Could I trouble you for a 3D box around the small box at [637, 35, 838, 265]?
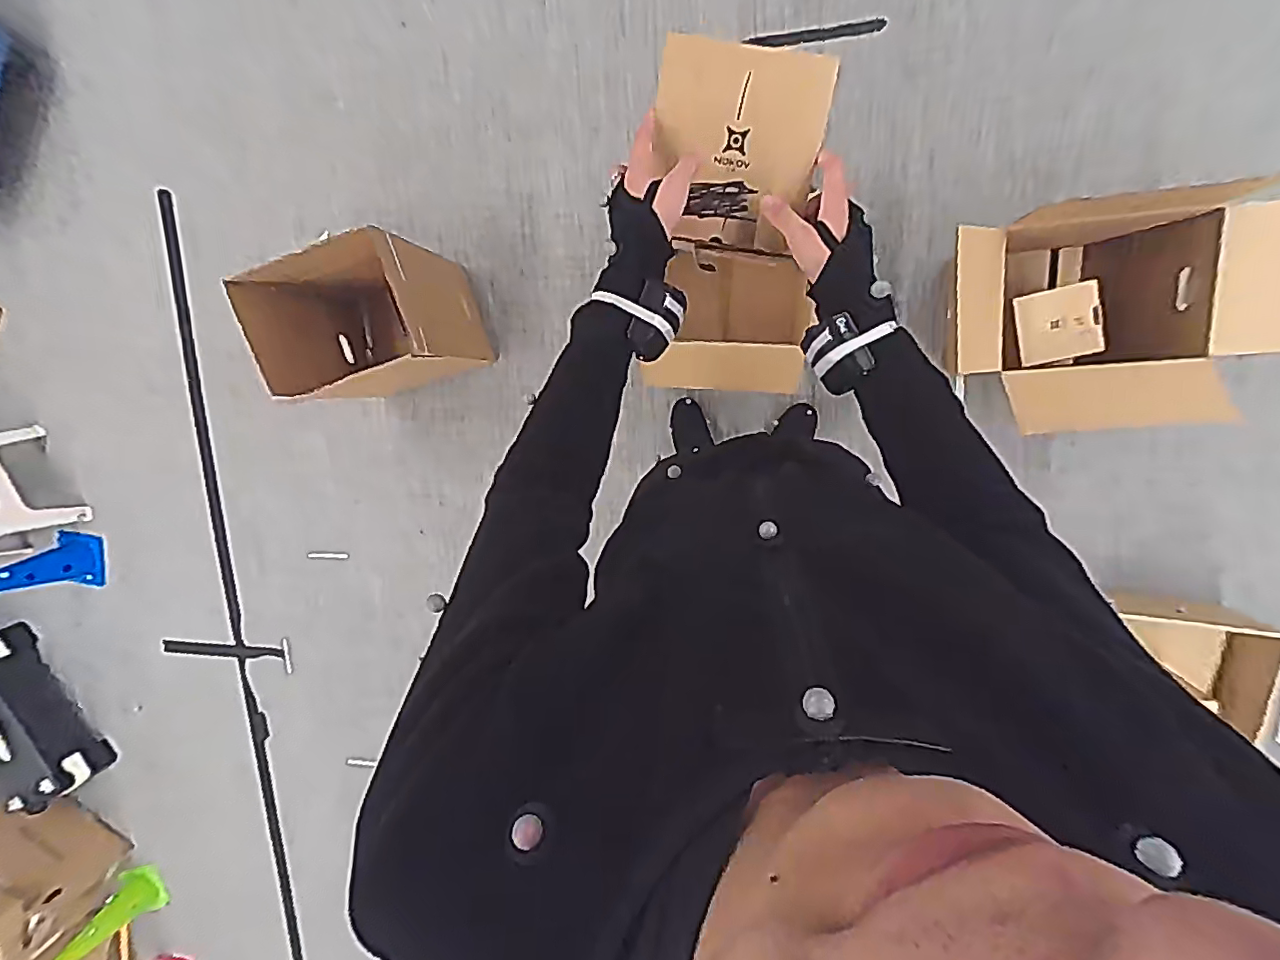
[{"bbox_3d":[0.099,-0.345,0.603,0.168,0.176,0.179,11,109,3],"label":"small box"}]
